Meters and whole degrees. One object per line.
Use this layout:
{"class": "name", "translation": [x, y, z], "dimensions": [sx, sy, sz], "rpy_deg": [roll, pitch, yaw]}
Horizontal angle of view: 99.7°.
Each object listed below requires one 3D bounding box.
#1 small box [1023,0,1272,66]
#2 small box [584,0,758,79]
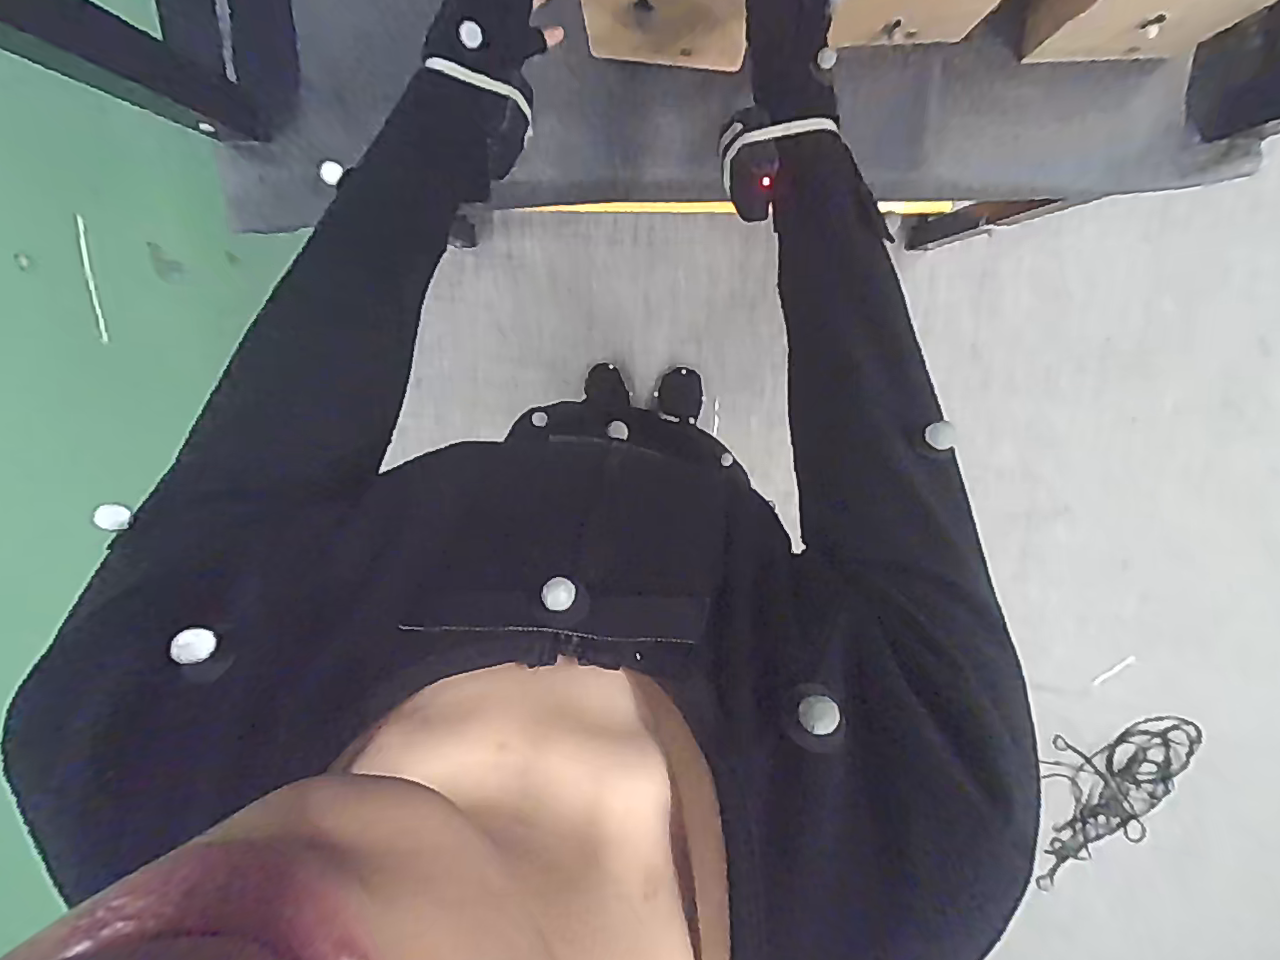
{"class": "small box", "translation": [0.498, -0.518, 0.503], "dimensions": [0.168, 0.176, 0.179], "rpy_deg": [-1, 104, 2]}
{"class": "small box", "translation": [0.037, -0.524, 0.514], "dimensions": [0.168, 0.176, 0.179], "rpy_deg": [6, 100, 0]}
